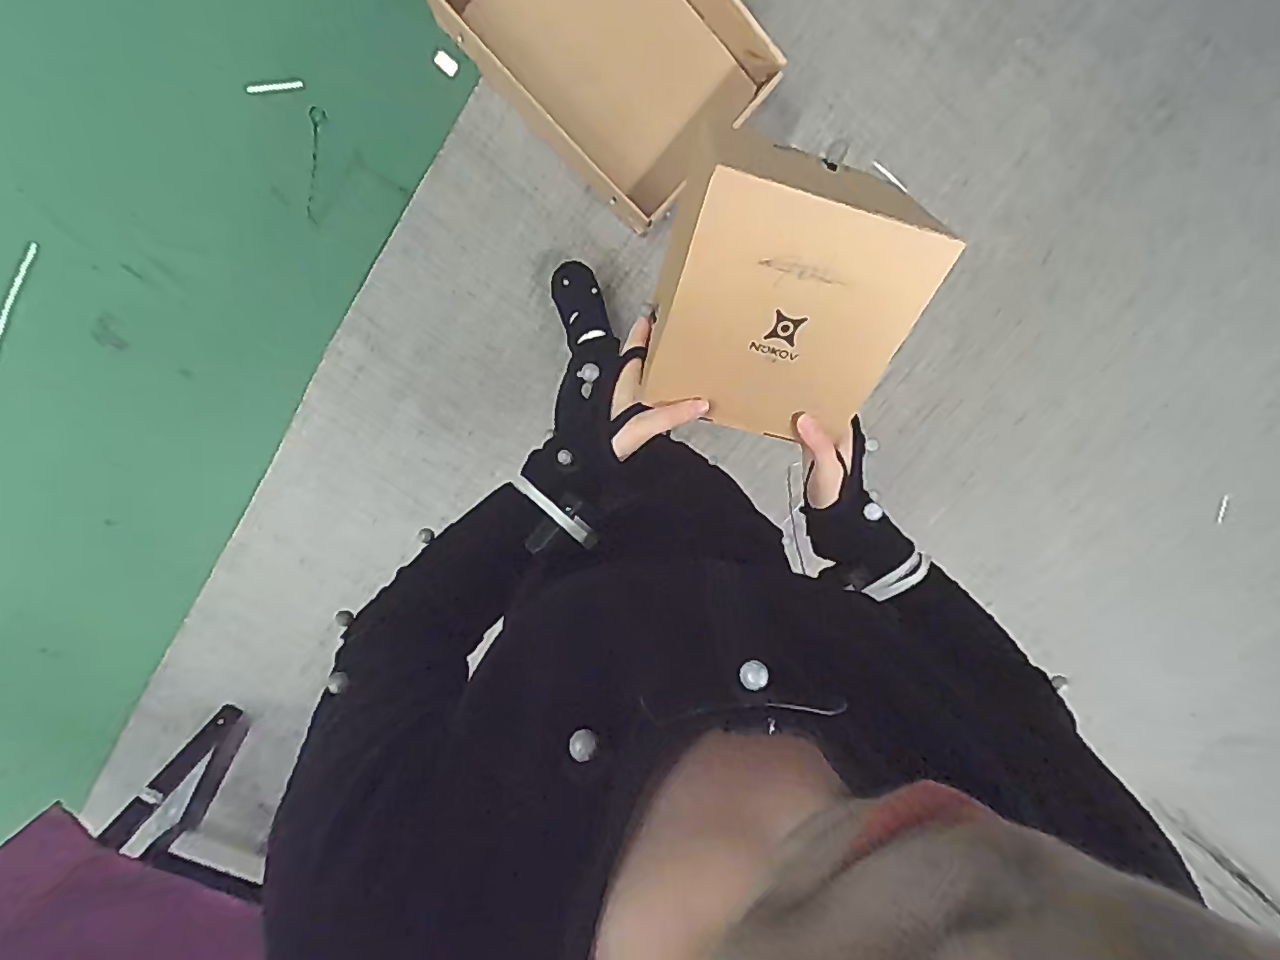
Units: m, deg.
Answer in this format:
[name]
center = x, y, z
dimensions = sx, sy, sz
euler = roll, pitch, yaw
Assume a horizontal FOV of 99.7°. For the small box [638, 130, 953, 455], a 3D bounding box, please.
[small box]
center = 0.103, -0.153, 0.442
dimensions = 0.168, 0.176, 0.179
euler = 13, 131, -8
